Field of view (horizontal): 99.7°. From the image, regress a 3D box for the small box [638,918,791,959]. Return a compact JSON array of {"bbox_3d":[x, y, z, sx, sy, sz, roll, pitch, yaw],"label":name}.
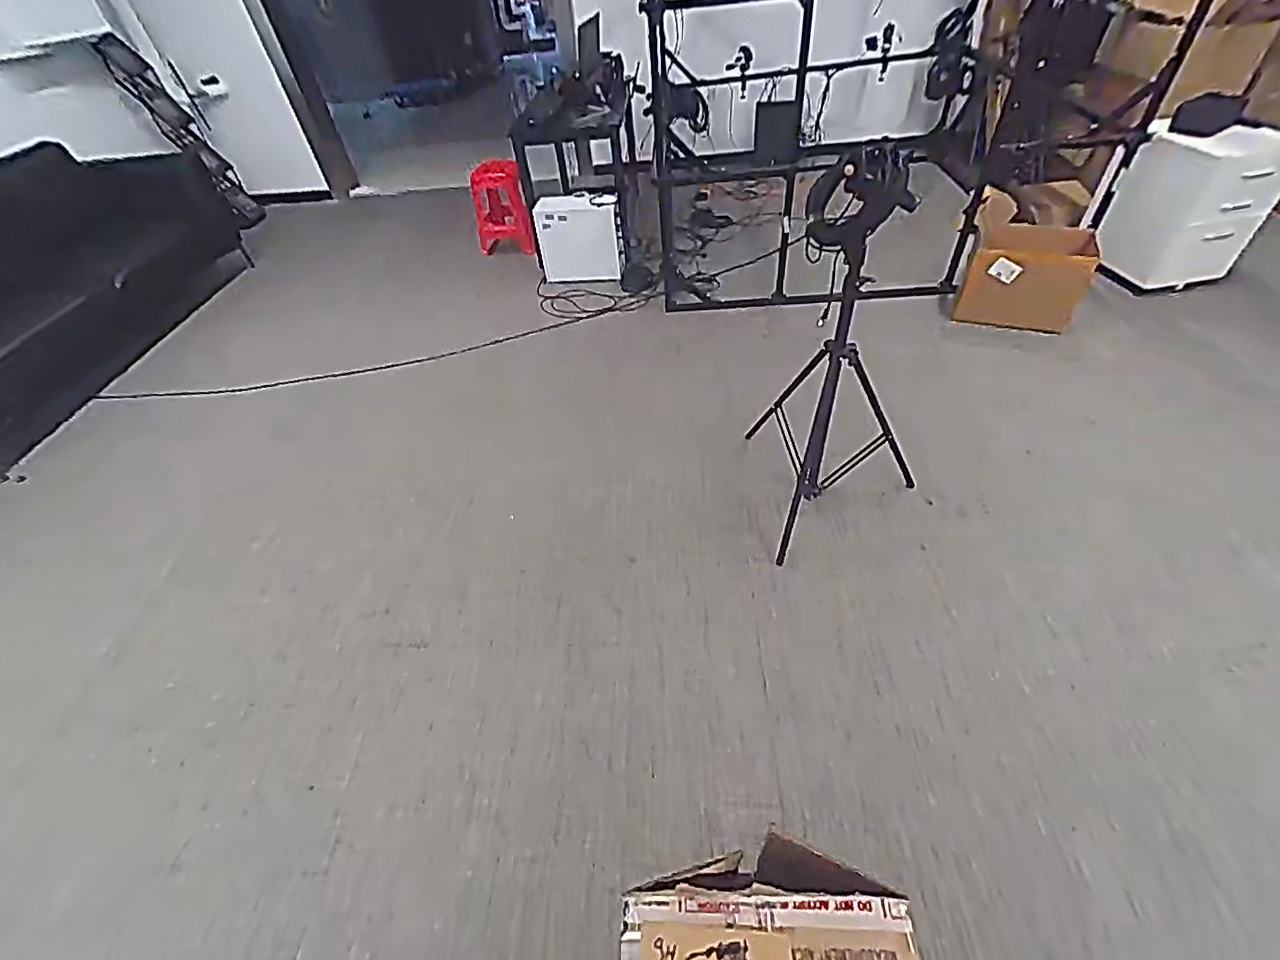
[{"bbox_3d":[0.084,0.607,0.595,0.168,0.176,0.179,-2,48,8],"label":"small box"}]
